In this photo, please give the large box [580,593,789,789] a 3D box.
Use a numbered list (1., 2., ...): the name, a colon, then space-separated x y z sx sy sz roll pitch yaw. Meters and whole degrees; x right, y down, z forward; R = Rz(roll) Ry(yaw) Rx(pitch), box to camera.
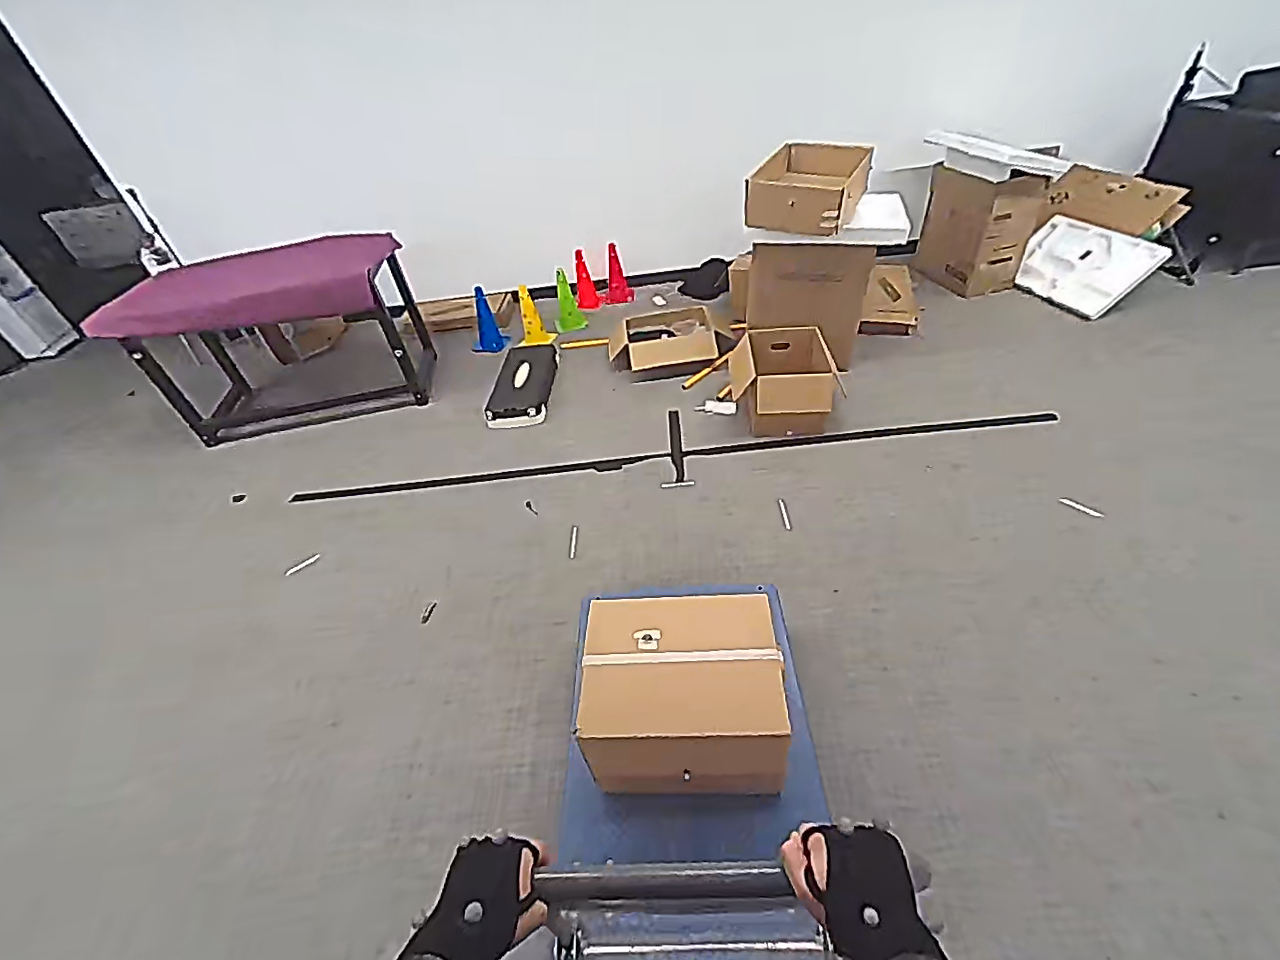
1. large box: 0.102 0.483 1.230 0.408 0.320 0.320 -4 41 6
